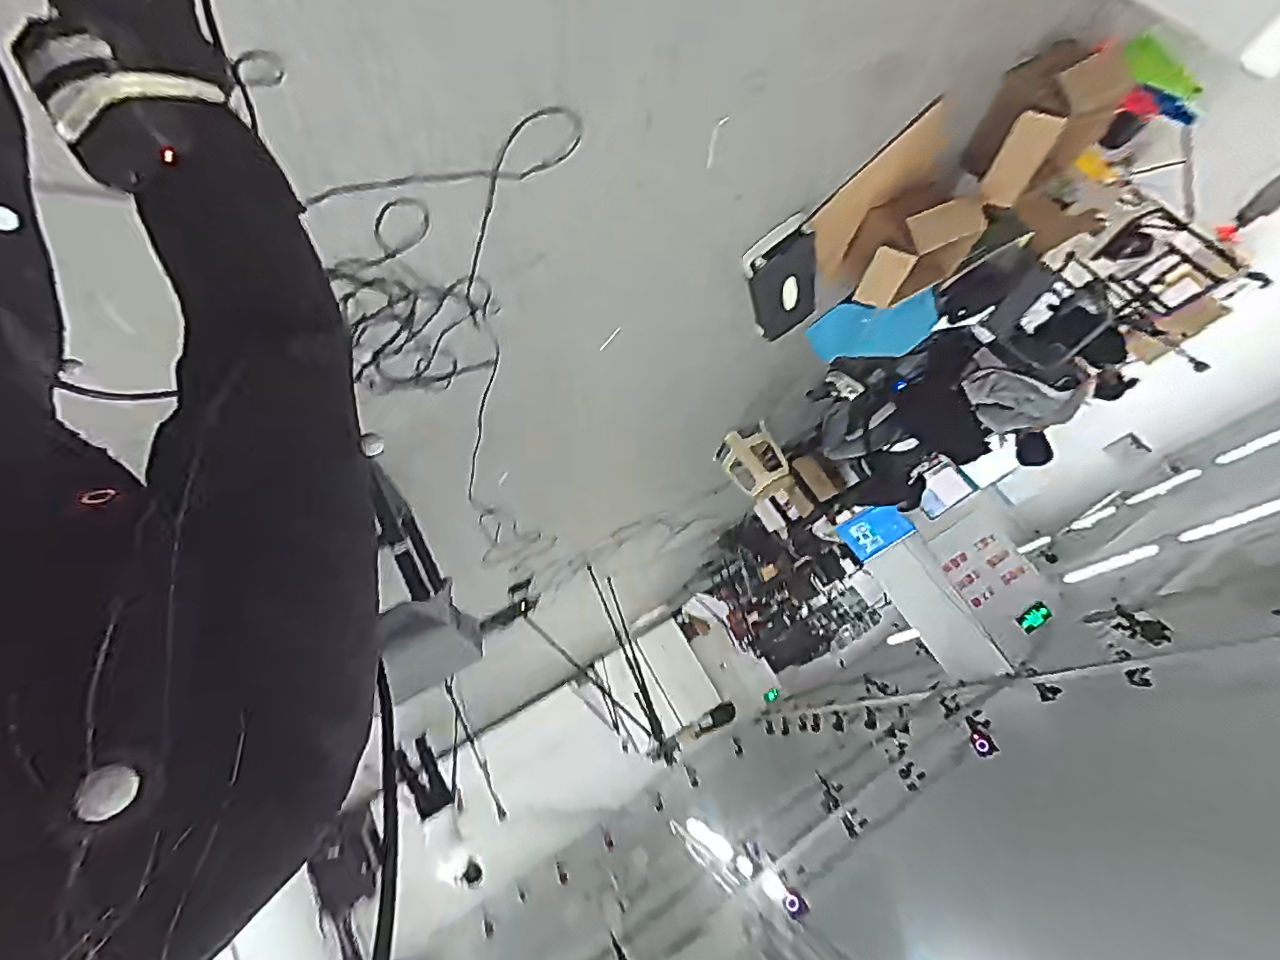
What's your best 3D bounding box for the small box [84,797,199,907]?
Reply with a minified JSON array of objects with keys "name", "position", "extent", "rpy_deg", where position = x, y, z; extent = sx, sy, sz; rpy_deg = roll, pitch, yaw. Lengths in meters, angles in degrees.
[{"name":"small box","position":[-1.315,0.976,1.428],"extent":[0.179,0.176,0.168],"rpy_deg":[-23,159,-32]}]
